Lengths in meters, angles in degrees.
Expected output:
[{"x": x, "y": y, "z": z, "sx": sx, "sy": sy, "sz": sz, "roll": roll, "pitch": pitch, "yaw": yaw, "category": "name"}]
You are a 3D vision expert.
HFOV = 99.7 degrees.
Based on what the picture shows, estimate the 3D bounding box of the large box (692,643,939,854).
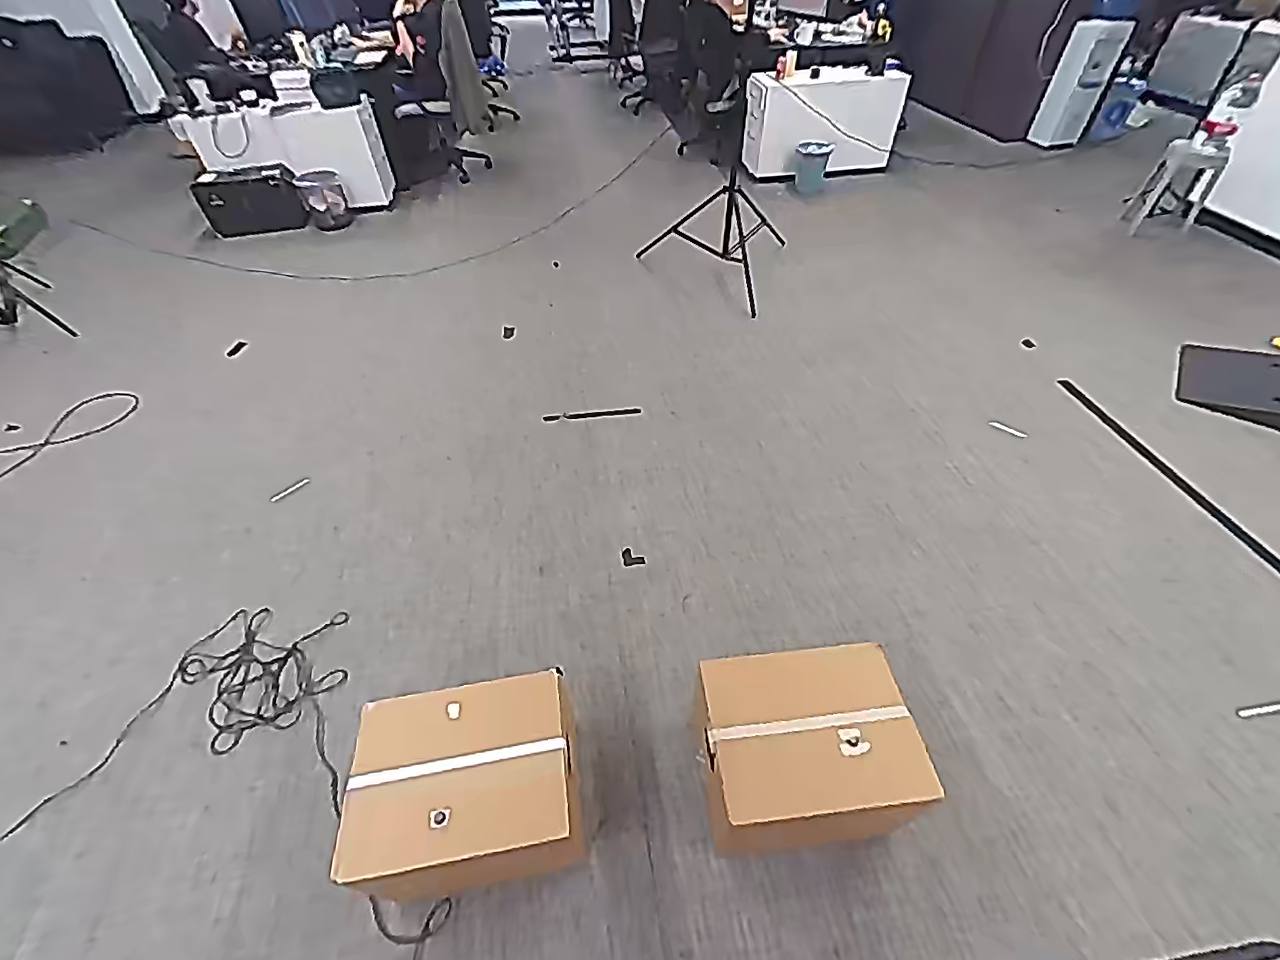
[{"x": 0.346, "y": 0.594, "z": 1.198, "sx": 0.408, "sy": 0.320, "sz": 0.320, "roll": -4, "pitch": 47, "yaw": -4, "category": "large box"}]
